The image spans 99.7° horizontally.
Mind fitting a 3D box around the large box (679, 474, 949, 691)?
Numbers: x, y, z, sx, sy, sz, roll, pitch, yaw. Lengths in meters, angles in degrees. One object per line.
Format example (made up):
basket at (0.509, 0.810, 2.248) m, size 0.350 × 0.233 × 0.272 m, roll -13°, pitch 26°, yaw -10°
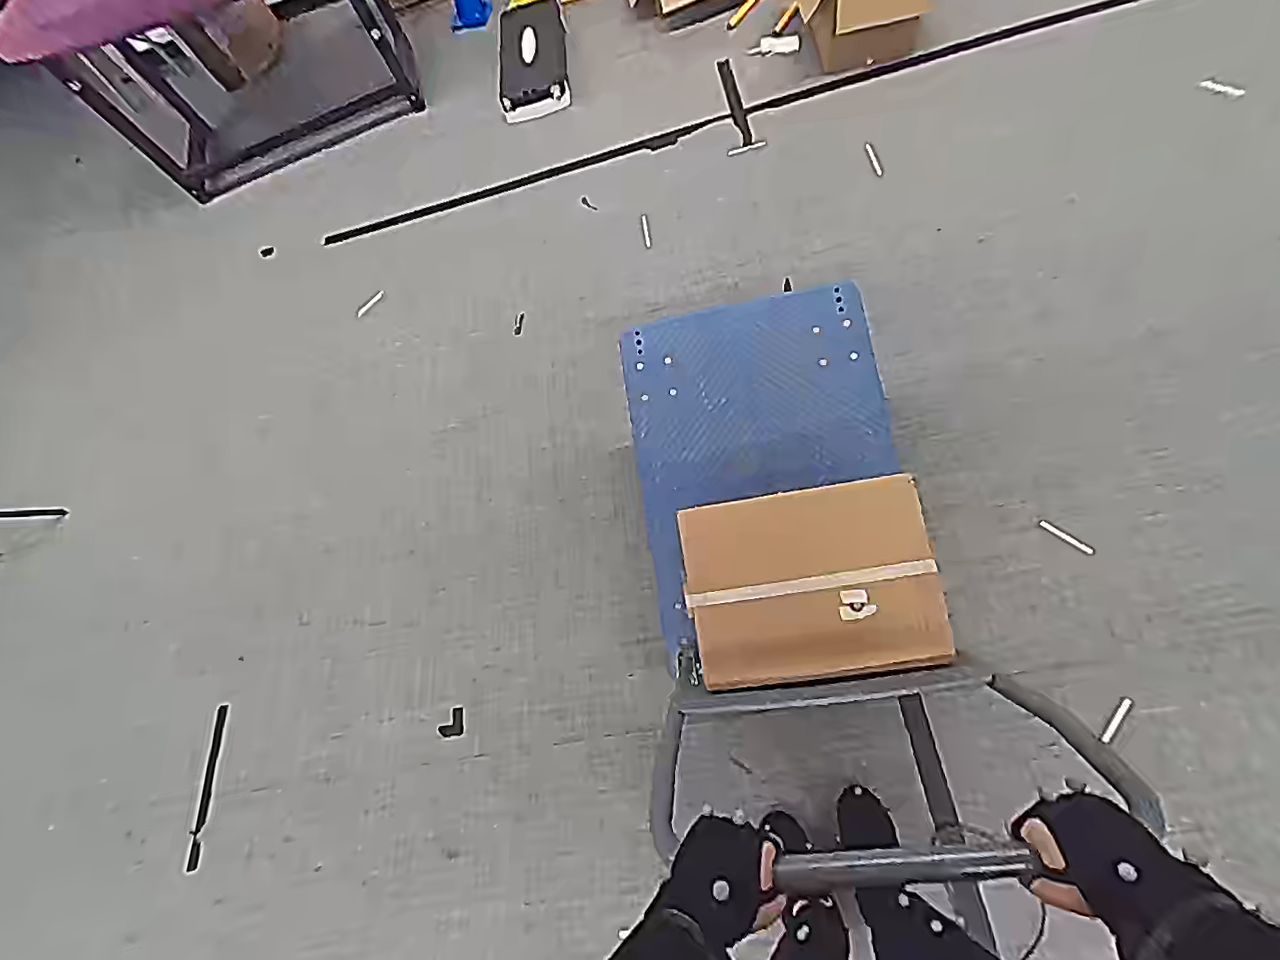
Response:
large box at (0.308, 0.197, 1.072) m, size 0.408 × 0.320 × 0.320 m, roll -11°, pitch 82°, yaw 7°
